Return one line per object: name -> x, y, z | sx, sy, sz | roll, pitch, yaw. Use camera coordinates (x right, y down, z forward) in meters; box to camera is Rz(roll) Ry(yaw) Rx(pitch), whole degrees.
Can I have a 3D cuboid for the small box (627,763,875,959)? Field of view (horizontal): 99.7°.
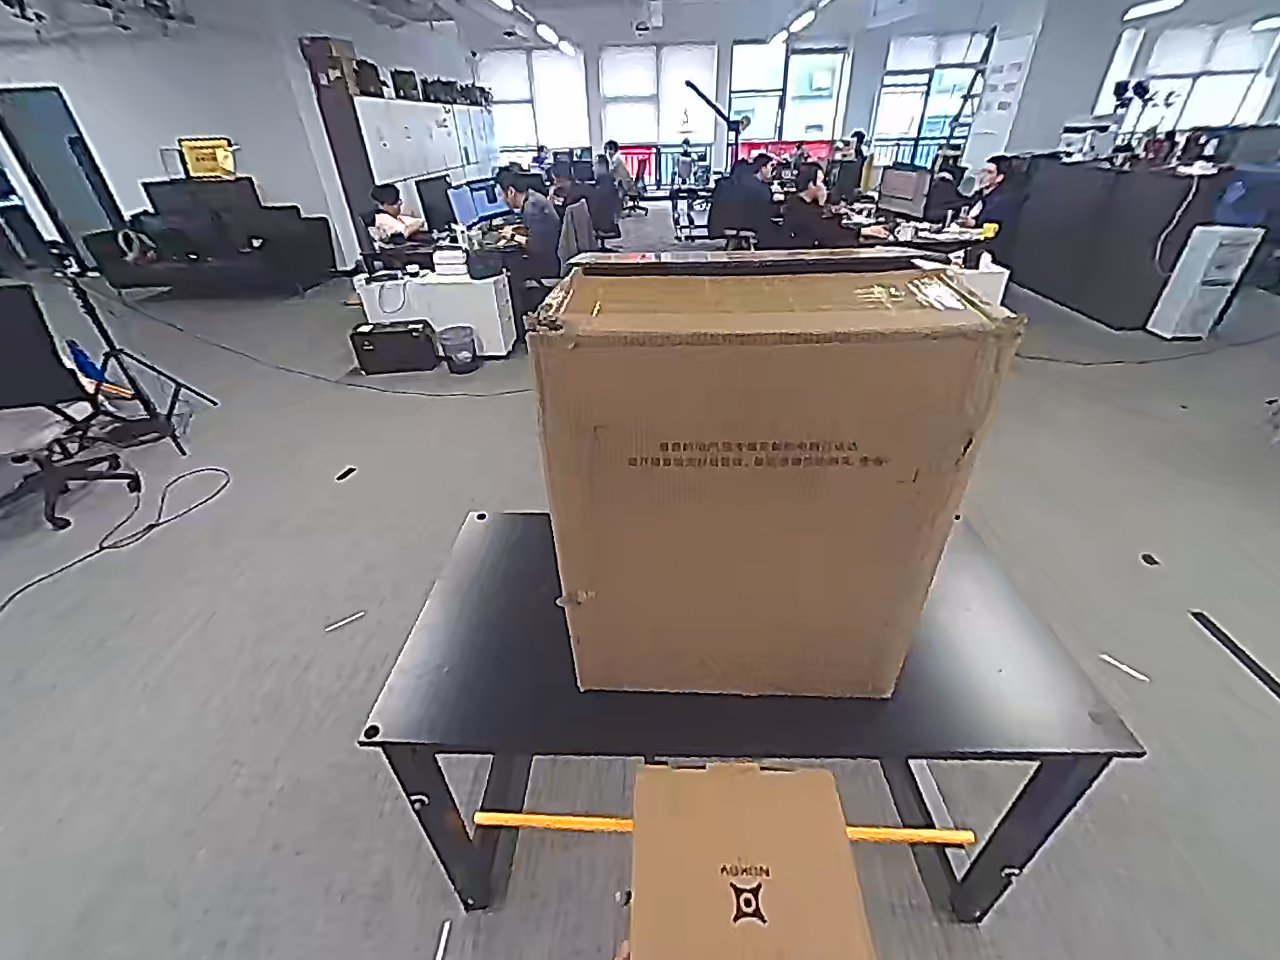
small box -> 0.074, 0.355, 0.436 | 0.168, 0.176, 0.179 | 1, 42, 0
